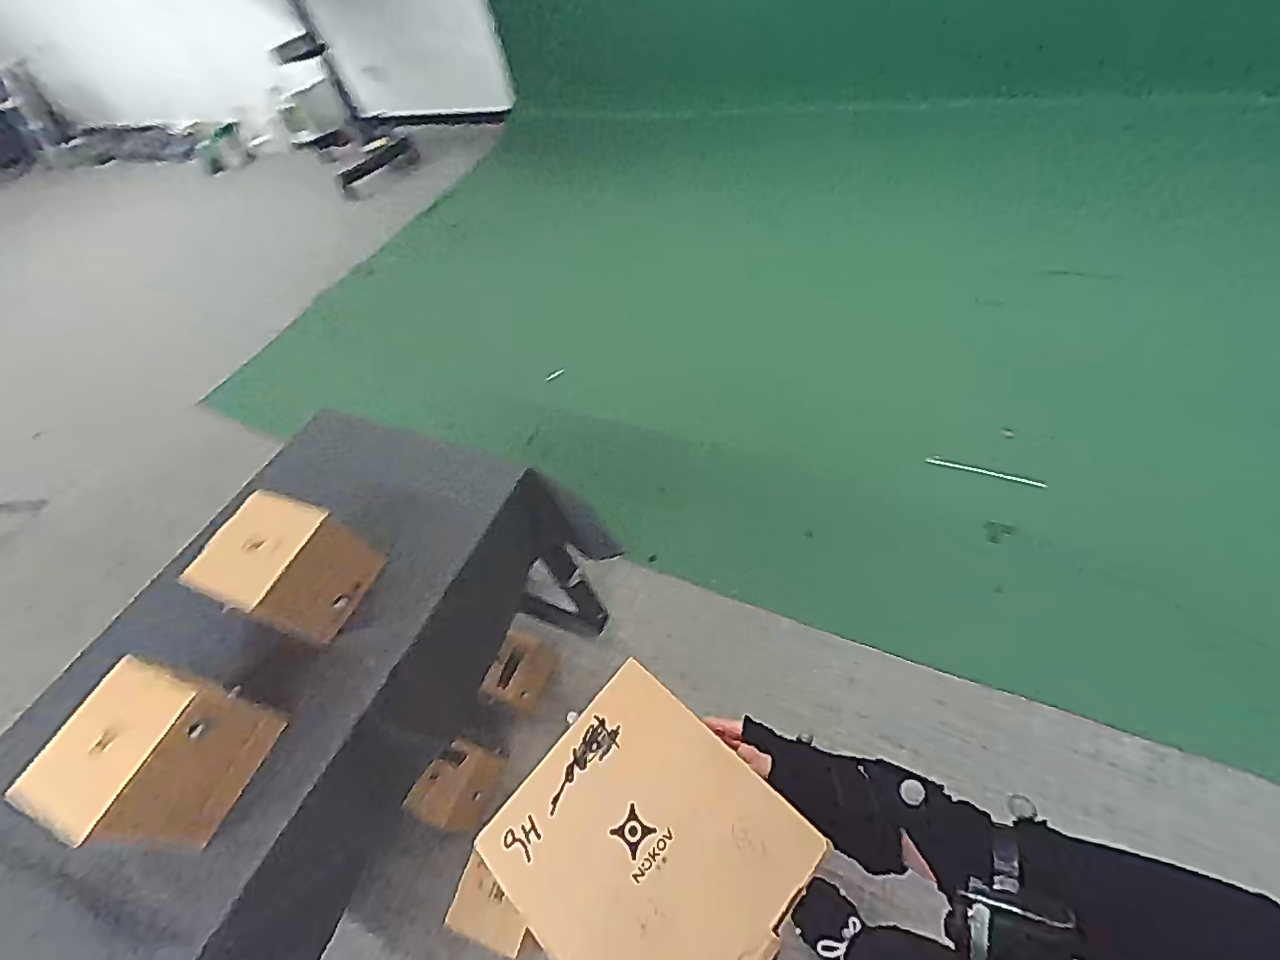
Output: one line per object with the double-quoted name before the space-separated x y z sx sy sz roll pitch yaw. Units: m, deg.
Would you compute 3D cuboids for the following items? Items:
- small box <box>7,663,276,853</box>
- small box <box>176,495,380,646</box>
"small box" -0.656 0.381 0.737 0.168 0.176 0.179 10 57 21
"small box" -0.576 0.151 0.883 0.179 0.176 0.168 13 60 22
